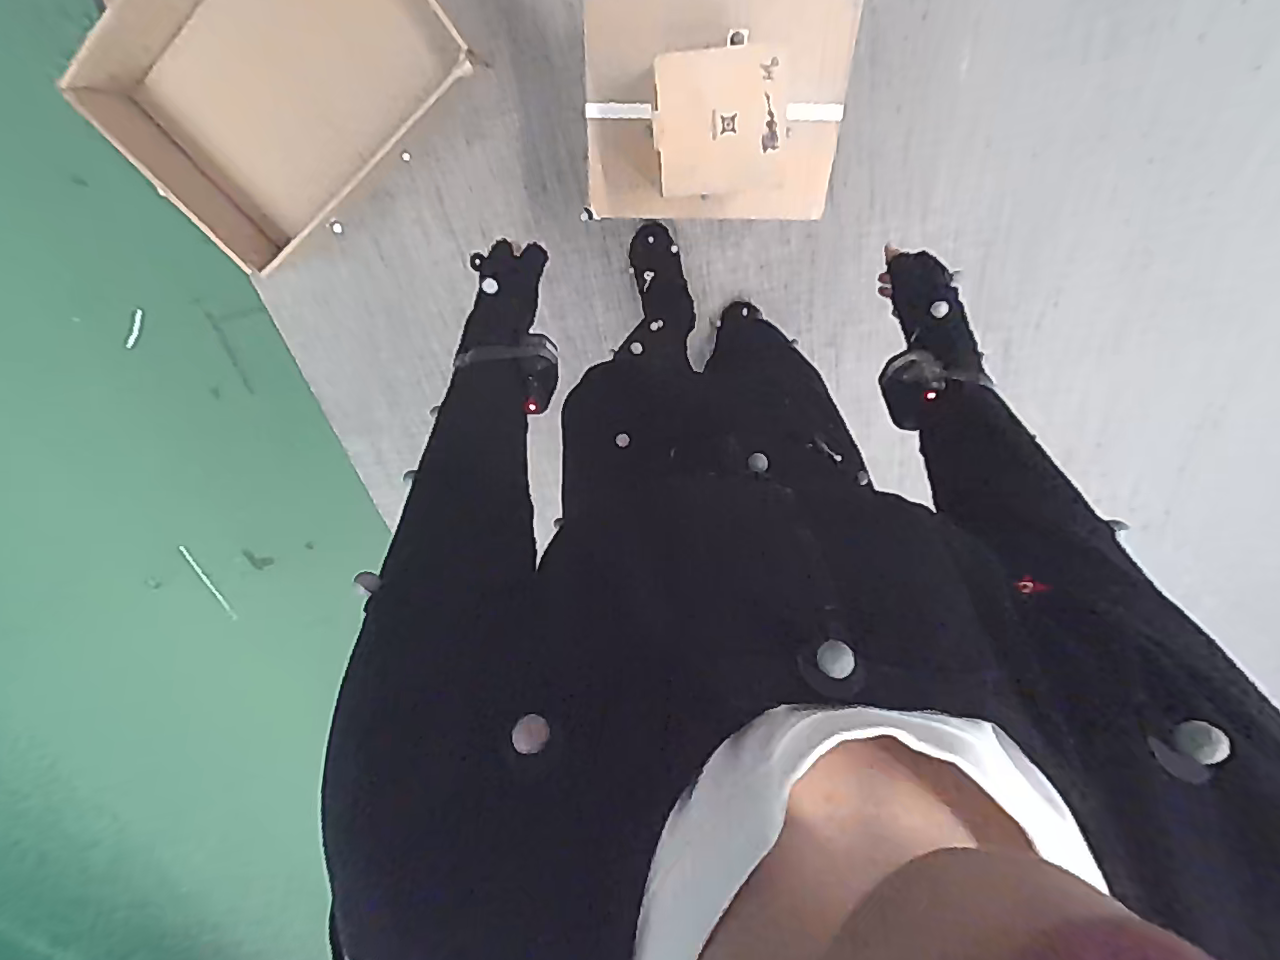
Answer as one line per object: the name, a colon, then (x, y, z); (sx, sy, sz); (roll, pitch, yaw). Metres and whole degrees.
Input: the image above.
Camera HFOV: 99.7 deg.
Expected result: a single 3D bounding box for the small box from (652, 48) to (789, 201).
small box: (0.110, -0.511, 0.794); (0.179, 0.176, 0.168); (-4, 122, 3)
